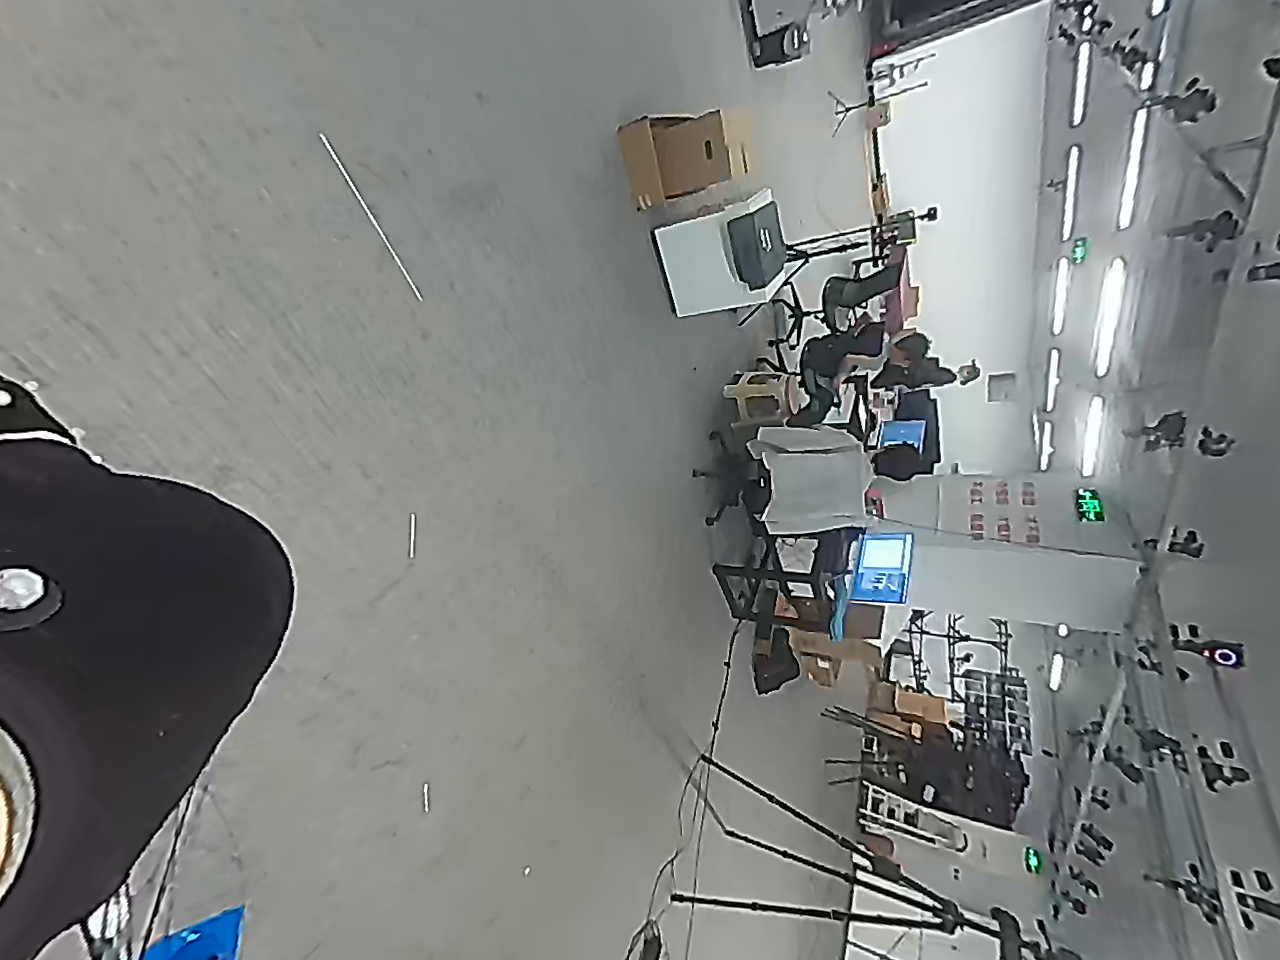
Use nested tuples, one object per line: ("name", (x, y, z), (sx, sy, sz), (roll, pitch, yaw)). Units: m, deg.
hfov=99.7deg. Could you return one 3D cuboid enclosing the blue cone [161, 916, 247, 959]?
("blue cone", (-0.884, 1.151, 1.180), (0.193, 0.380, 0.192), (14, 77, -60))
